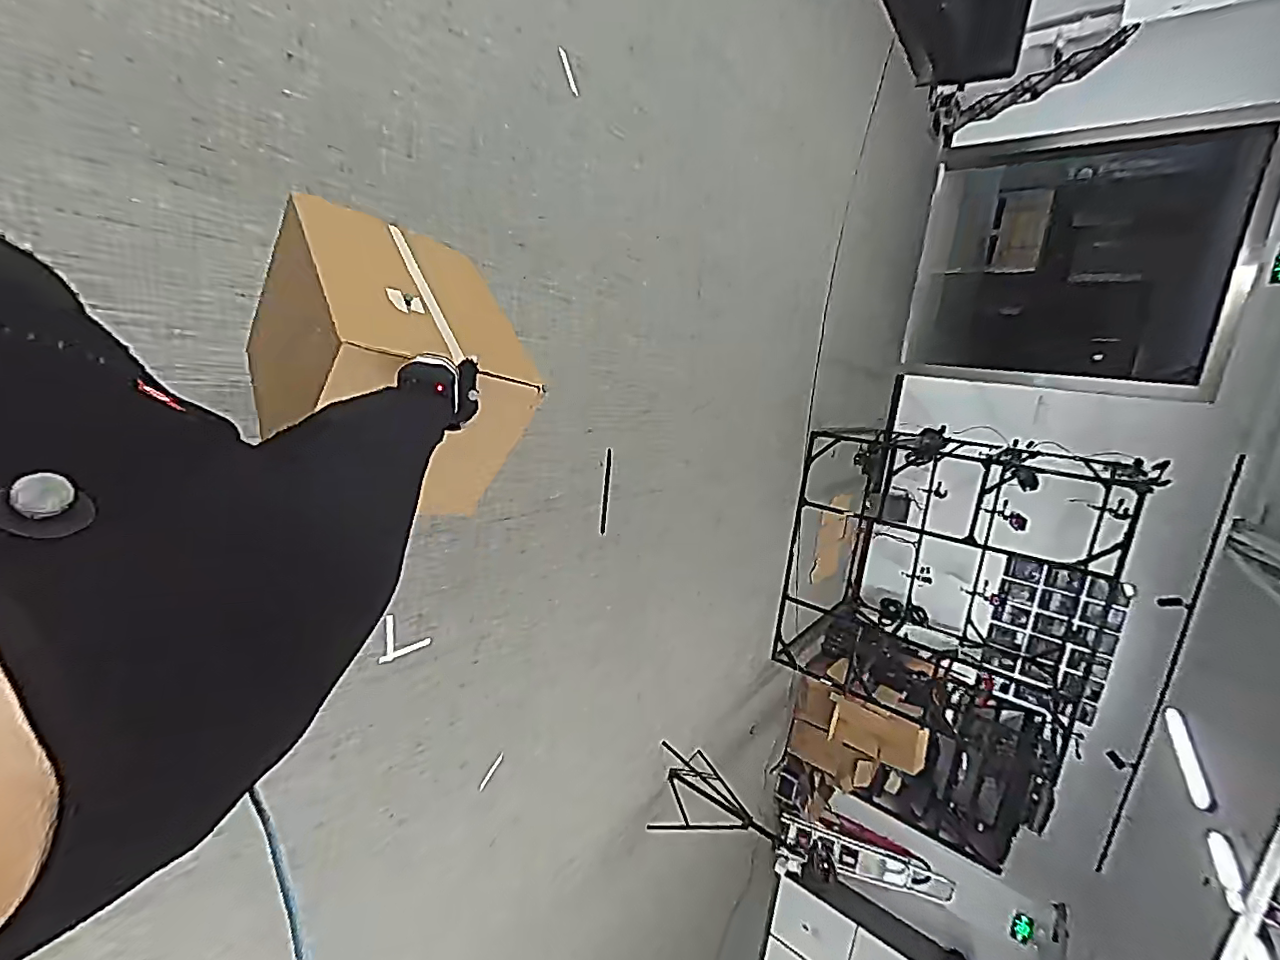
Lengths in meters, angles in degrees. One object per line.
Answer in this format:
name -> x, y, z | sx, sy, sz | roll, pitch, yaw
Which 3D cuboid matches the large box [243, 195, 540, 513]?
large box -> -0.445, -0.195, 0.937 | 0.320, 0.408, 0.320 | 6, 133, -48
